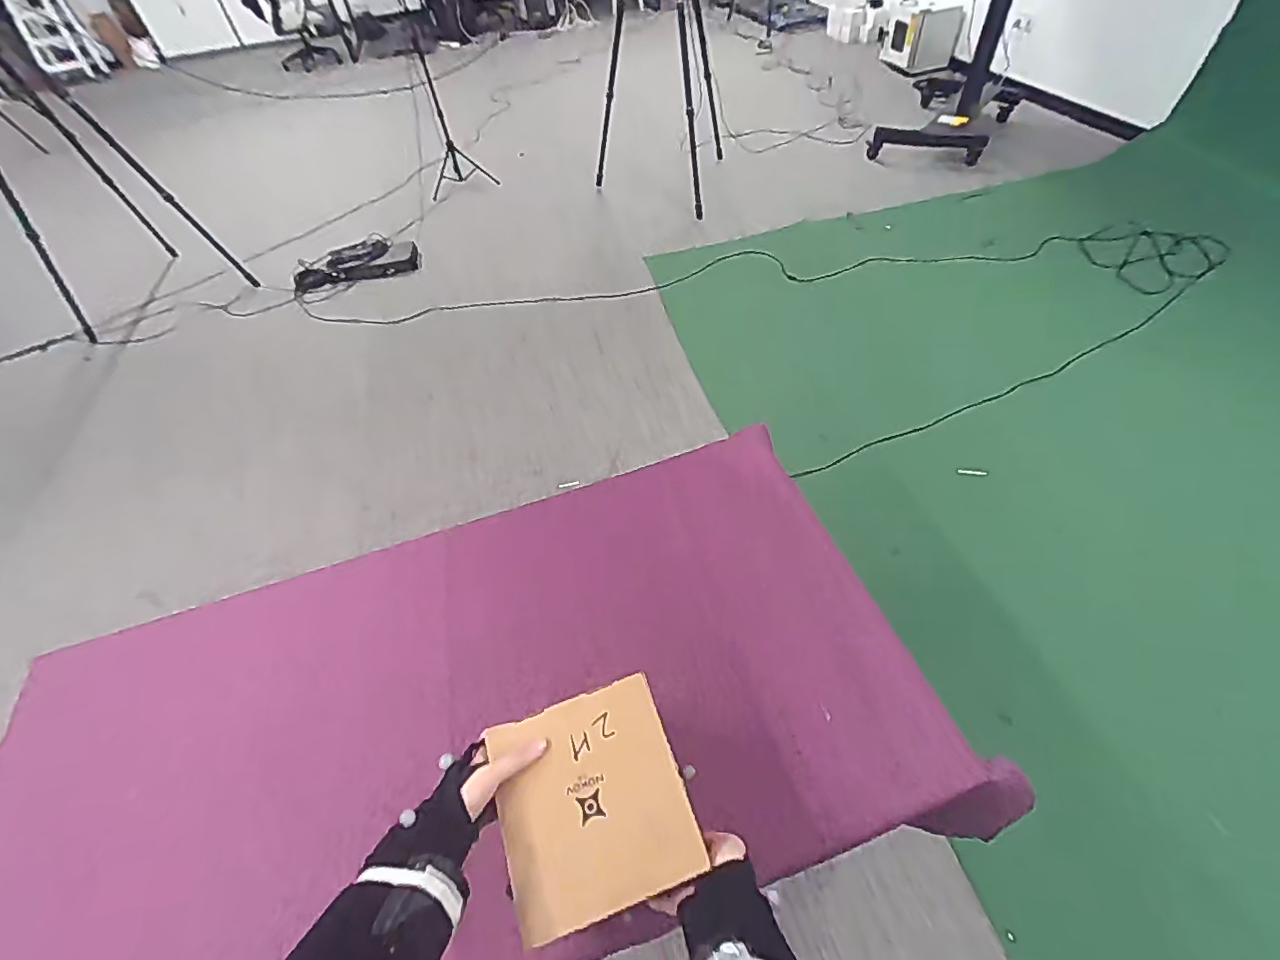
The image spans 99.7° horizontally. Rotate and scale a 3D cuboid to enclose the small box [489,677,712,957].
[{"bbox_3d":[-0.034,0.330,0.552,0.168,0.176,0.179,-20,57,-7],"label":"small box"}]
